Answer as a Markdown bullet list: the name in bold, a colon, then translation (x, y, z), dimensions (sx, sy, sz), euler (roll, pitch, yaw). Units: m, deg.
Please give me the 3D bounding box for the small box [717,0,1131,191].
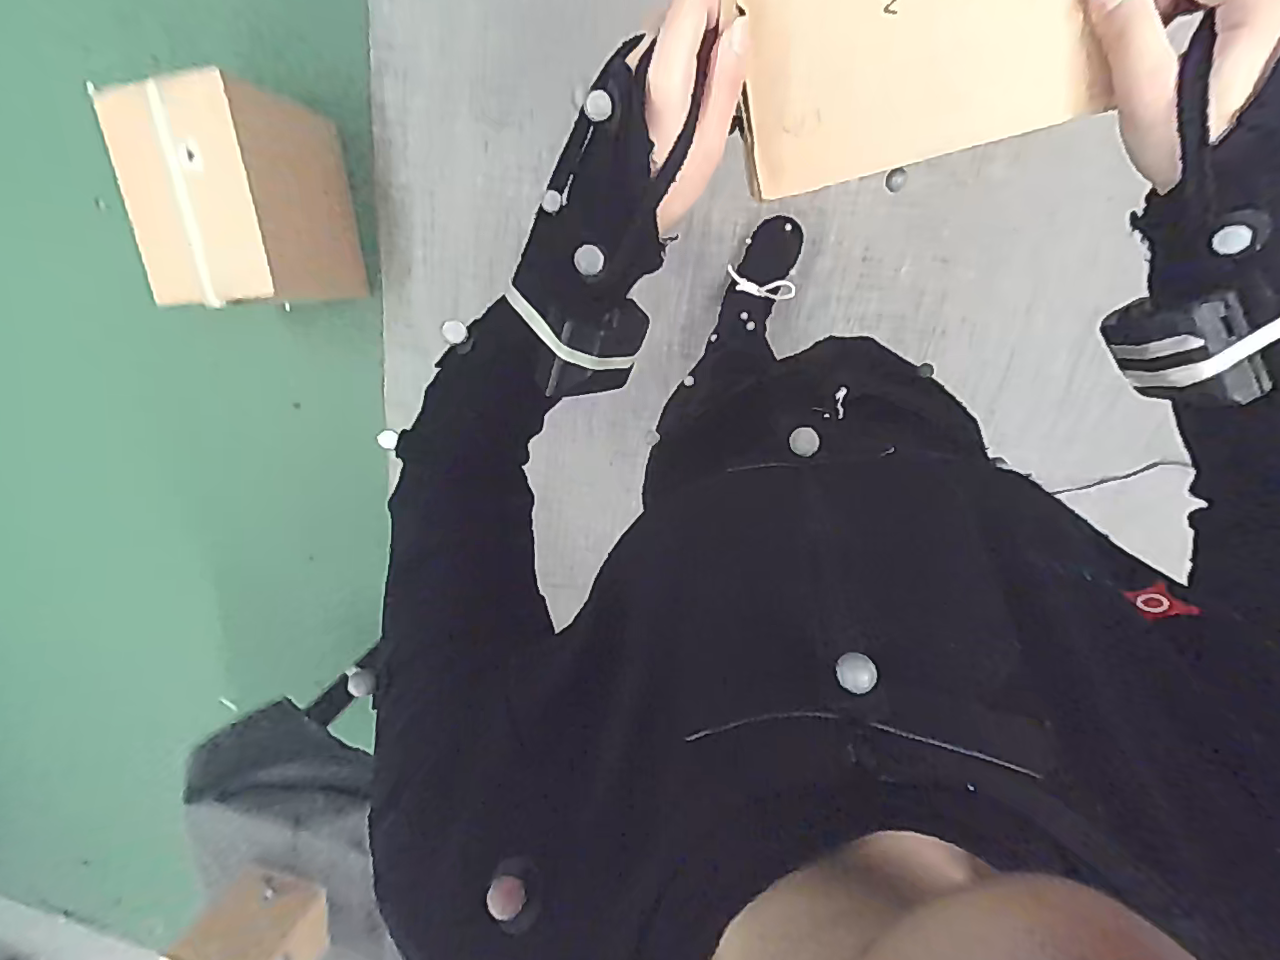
- **small box**: translation (0.135, -0.278, 0.310), dimensions (0.179, 0.176, 0.168), euler (-9, 119, 13)
